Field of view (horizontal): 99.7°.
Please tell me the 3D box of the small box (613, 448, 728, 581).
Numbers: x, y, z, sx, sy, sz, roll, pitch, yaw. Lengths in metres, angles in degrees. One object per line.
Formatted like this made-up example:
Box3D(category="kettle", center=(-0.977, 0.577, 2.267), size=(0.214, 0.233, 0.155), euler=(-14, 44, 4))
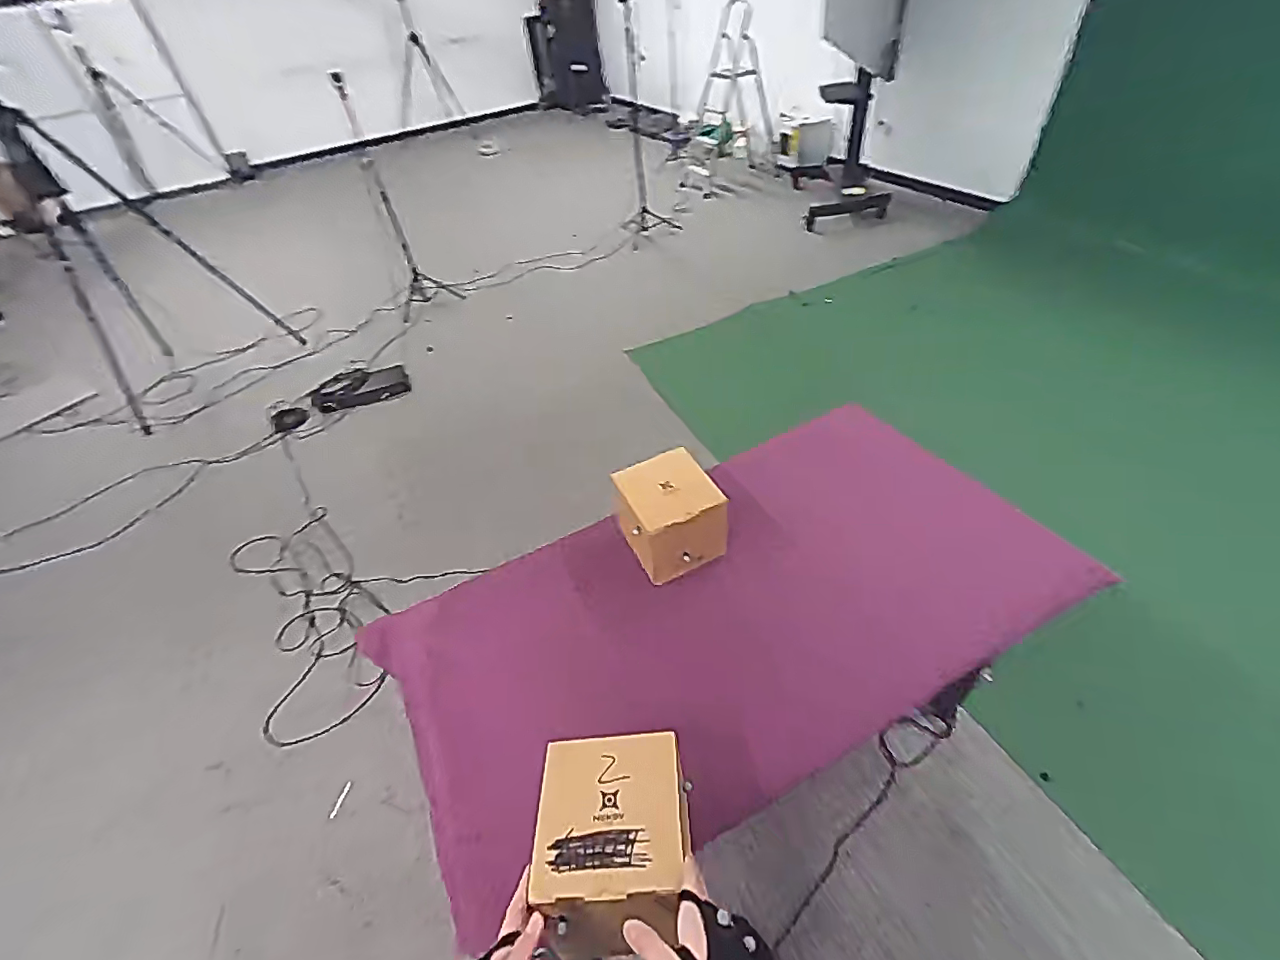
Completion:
Box3D(category="small box", center=(0.059, 0.070, 1.089), size=(0.168, 0.176, 0.179), euler=(-22, 48, -15))
